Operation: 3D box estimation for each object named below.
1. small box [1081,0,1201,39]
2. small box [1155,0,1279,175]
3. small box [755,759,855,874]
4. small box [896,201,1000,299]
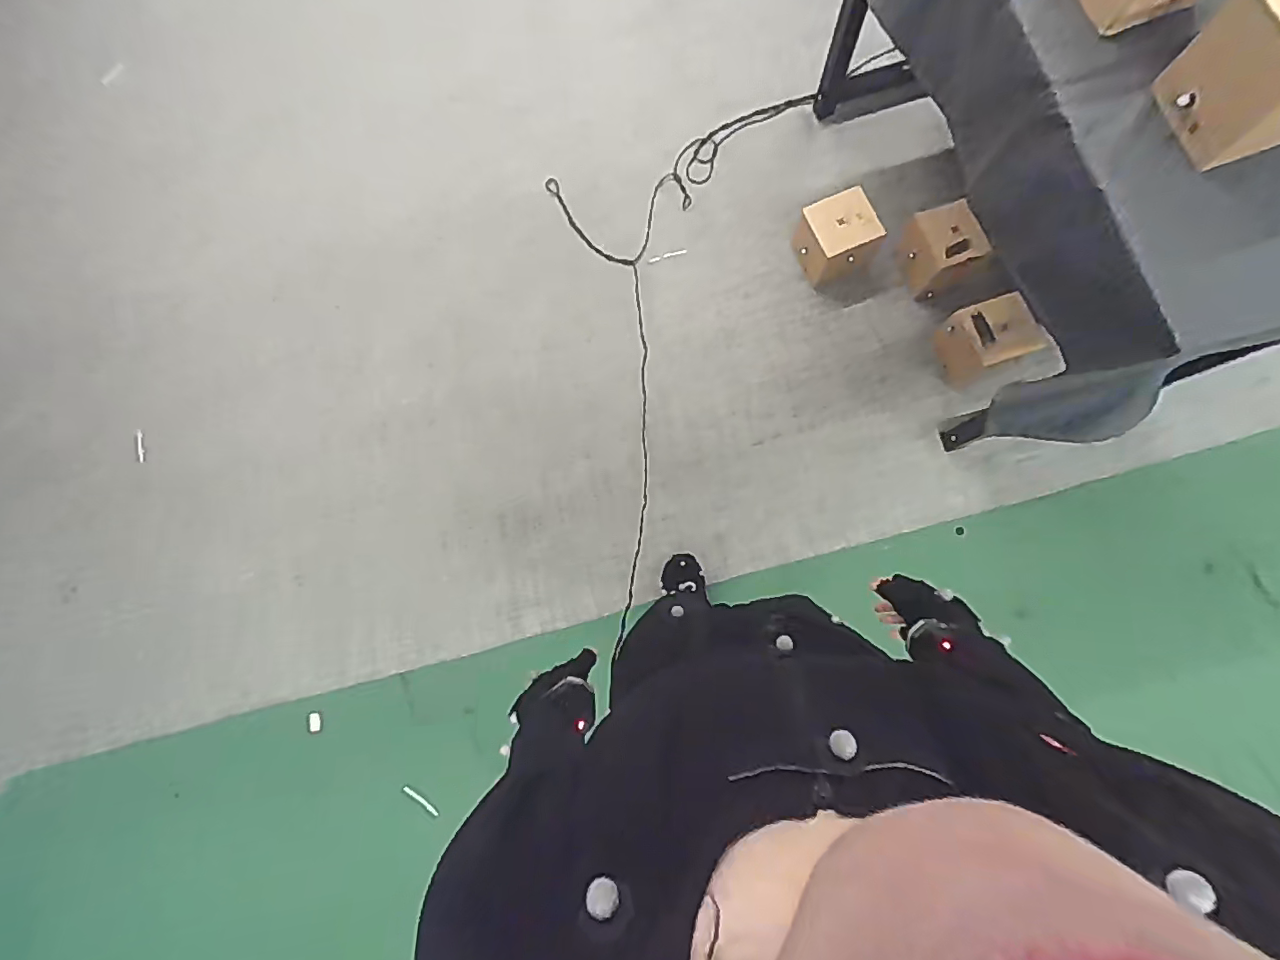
[{"bbox_3d":[0.797,-0.832,0.817,0.168,0.176,0.179,-21,80,0],"label":"small box"},{"bbox_3d":[0.911,-0.578,0.765,0.179,0.176,0.168,-19,79,1],"label":"small box"},{"bbox_3d":[0.390,0.800,1.312,0.168,0.176,0.179,-17,79,1],"label":"small box"},{"bbox_3d":[0.854,-0.633,1.516,0.168,0.176,0.179,-18,78,1],"label":"small box"}]
